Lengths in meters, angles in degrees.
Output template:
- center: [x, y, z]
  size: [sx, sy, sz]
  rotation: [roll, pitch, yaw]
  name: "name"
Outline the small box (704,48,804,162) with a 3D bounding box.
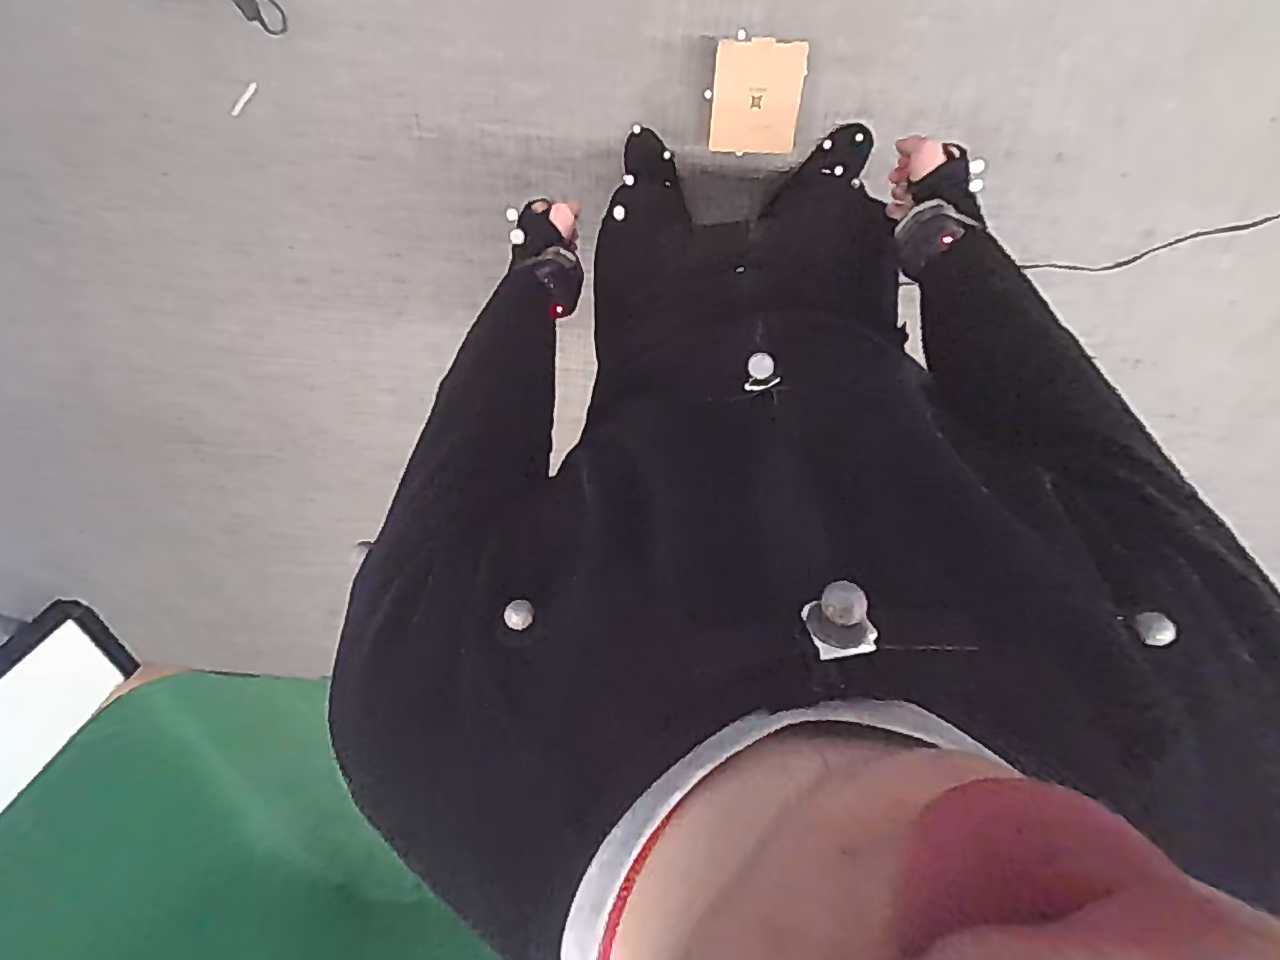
- center: [0.220, -0.757, 1.092]
  size: [0.168, 0.176, 0.179]
  rotation: [5, 128, 4]
  name: "small box"
